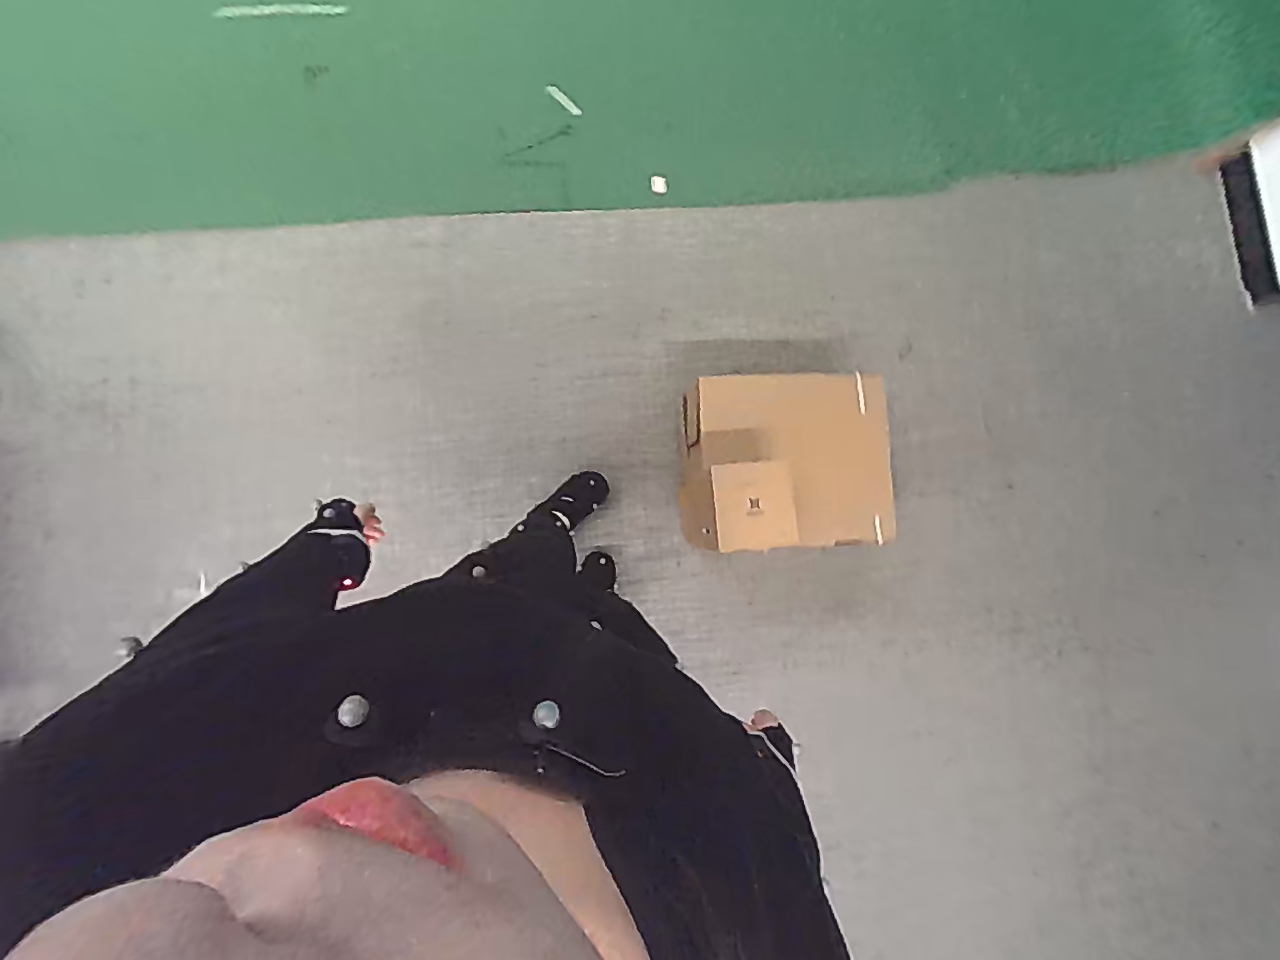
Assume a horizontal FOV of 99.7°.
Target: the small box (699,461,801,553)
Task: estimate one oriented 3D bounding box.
[{"bbox_3d":[0.226,0.058,1.150,0.168,0.176,0.179,-4,86,-6],"label":"small box"}]
